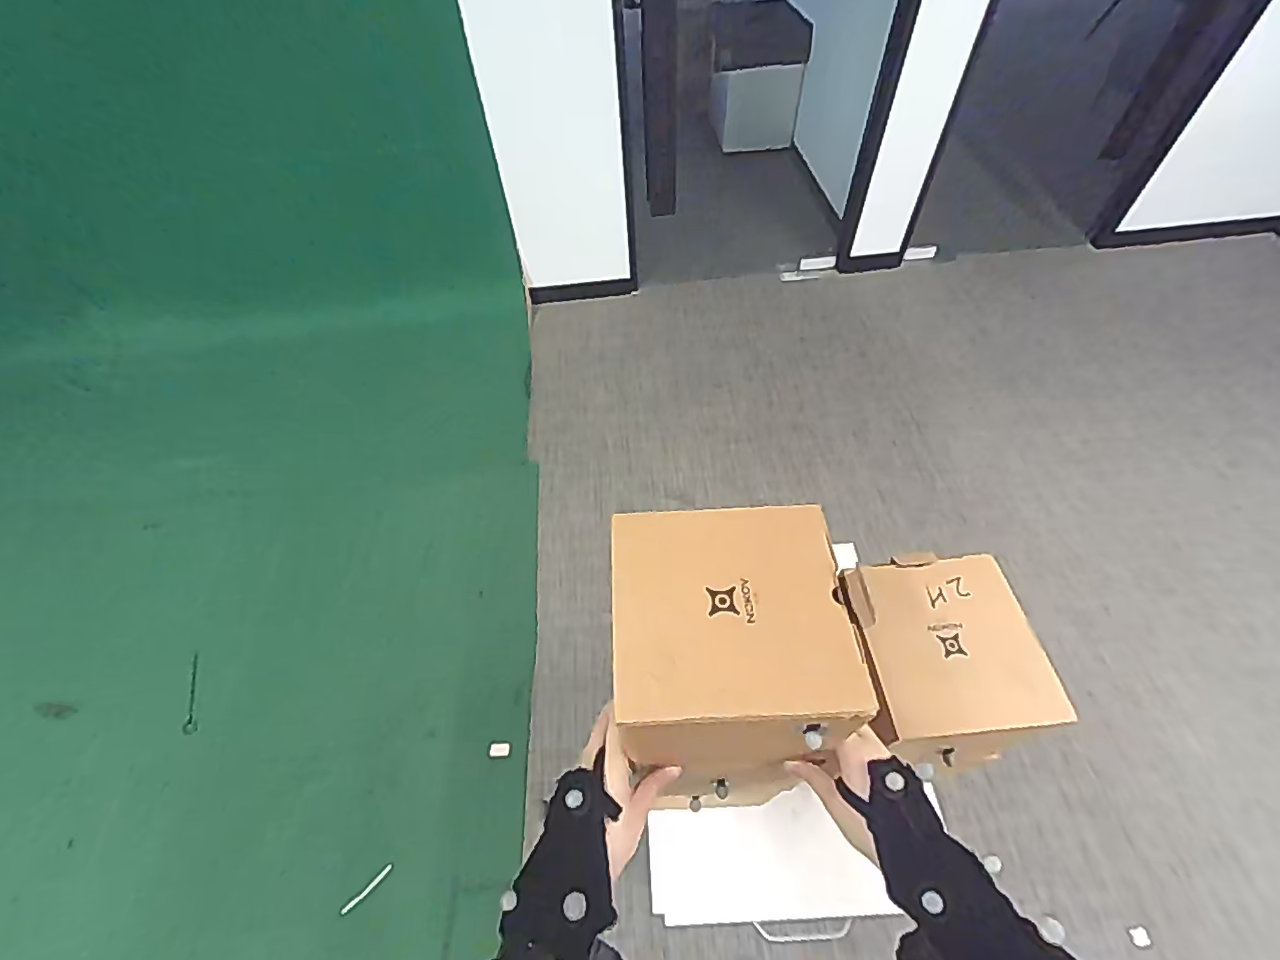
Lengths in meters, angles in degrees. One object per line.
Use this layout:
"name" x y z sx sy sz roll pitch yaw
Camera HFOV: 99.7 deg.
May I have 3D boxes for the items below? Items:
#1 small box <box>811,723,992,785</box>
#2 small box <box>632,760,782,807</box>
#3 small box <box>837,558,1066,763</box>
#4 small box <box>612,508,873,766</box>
"small box" 0.325 0.311 0.738 0.179 0.176 0.168 -3 53 1
"small box" 0.079 0.337 0.731 0.179 0.176 0.168 -3 54 0
"small box" 0.310 0.210 0.609 0.168 0.176 0.179 -5 53 0
"small box" 0.069 0.141 0.469 0.179 0.176 0.168 -2 53 -1
